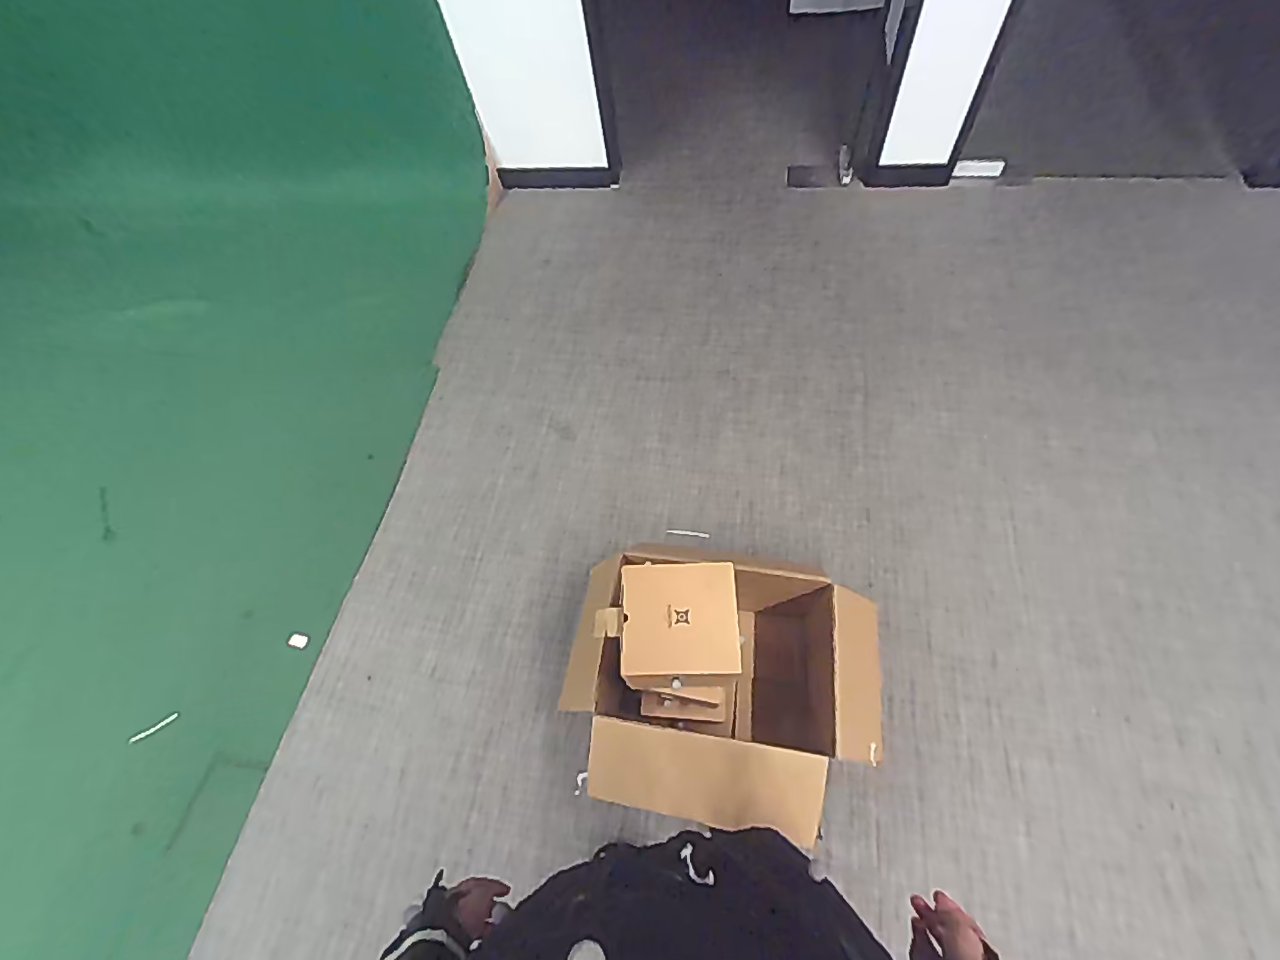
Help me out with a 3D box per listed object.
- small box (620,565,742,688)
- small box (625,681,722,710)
[{"bbox_3d":[0.063,0.240,0.874,0.179,0.176,0.168,-2,63,4],"label":"small box"},{"bbox_3d":[0.075,0.321,1.015,0.168,0.176,0.179,10,66,9],"label":"small box"}]
